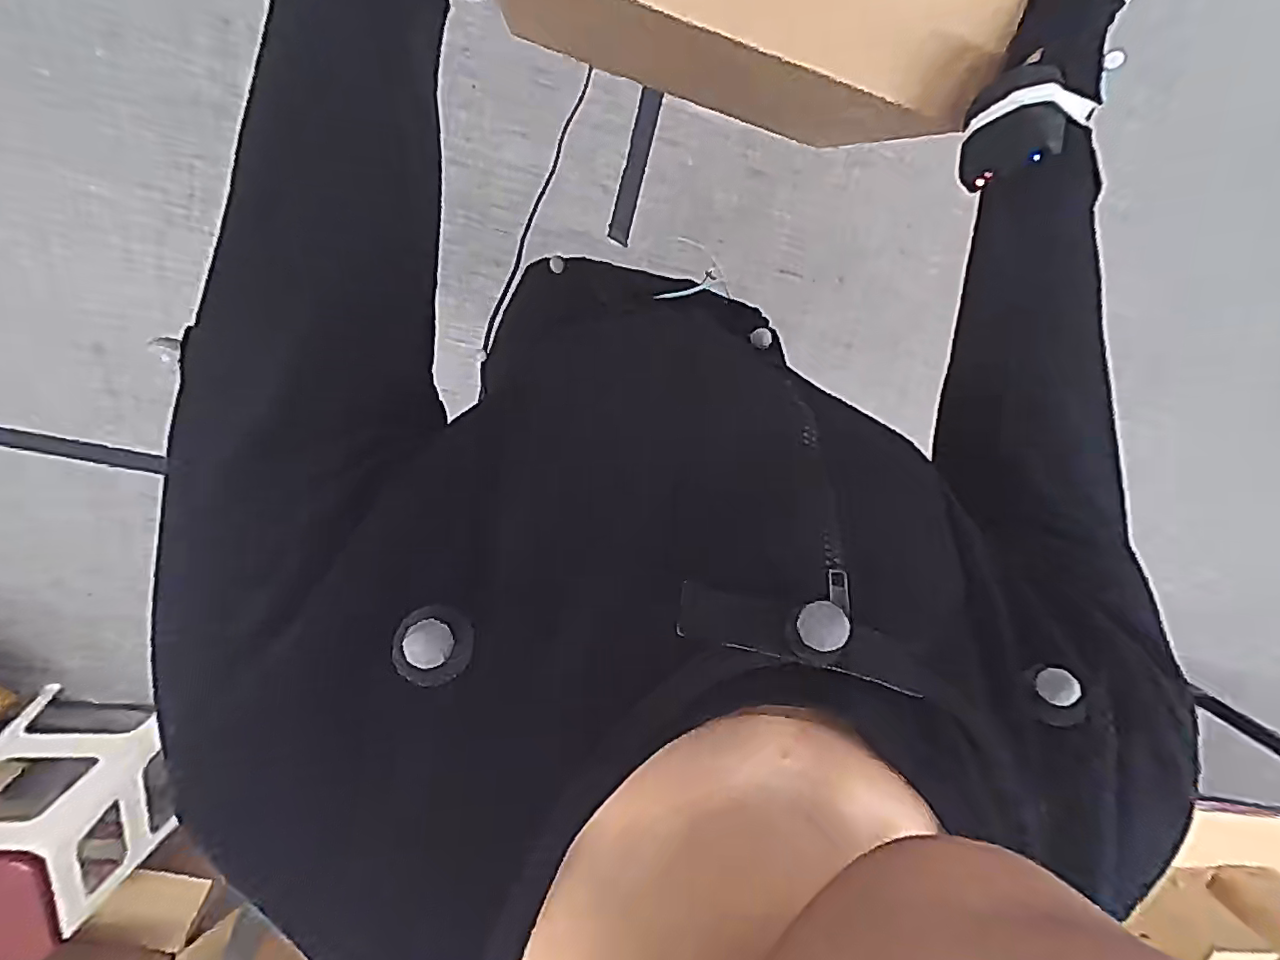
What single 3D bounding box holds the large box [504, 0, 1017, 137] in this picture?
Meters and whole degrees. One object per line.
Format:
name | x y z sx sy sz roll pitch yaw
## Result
large box | 0.099 -0.535 0.463 0.408 0.320 0.320 11 118 -13
